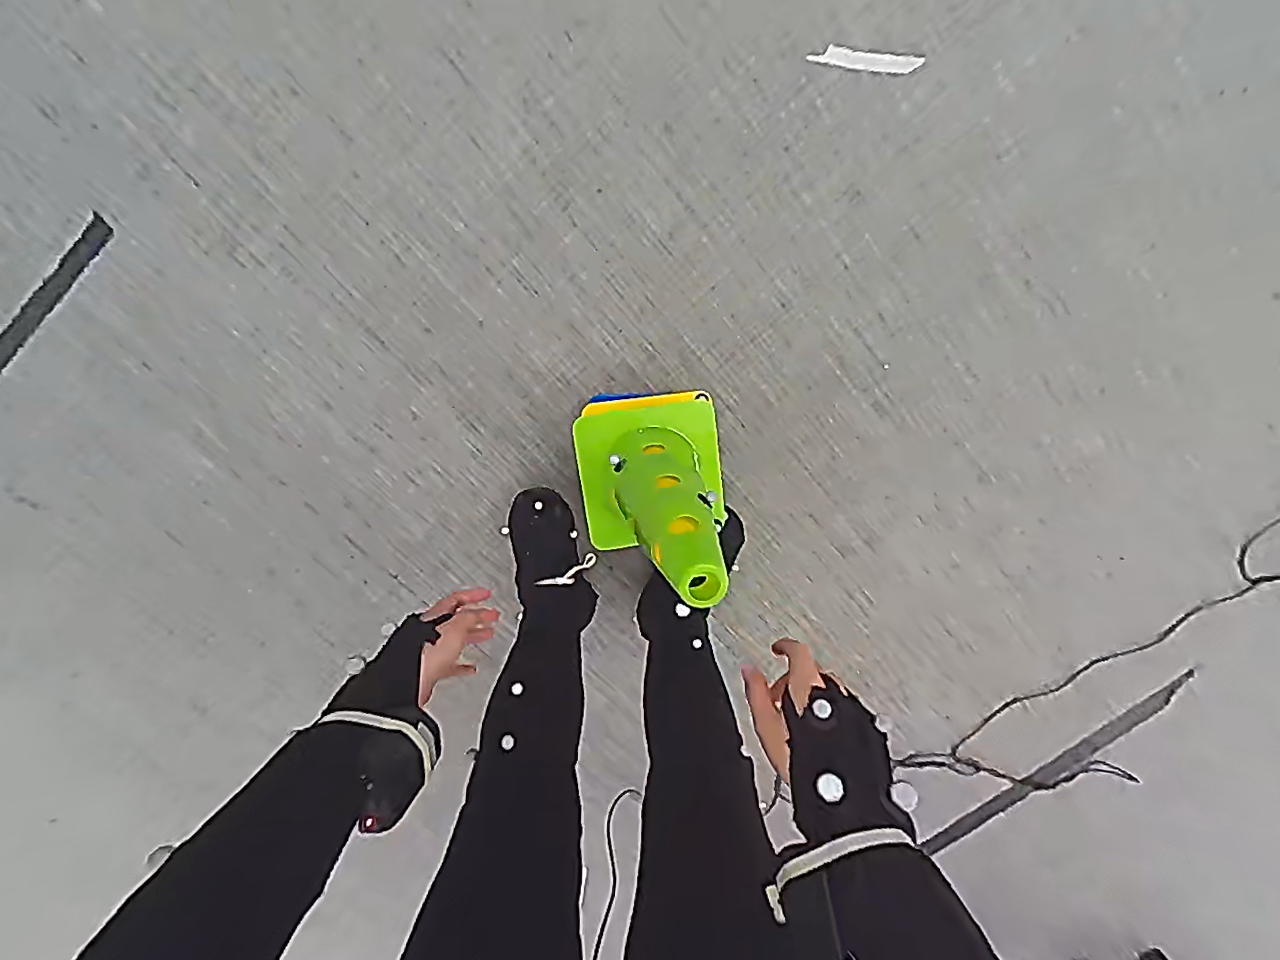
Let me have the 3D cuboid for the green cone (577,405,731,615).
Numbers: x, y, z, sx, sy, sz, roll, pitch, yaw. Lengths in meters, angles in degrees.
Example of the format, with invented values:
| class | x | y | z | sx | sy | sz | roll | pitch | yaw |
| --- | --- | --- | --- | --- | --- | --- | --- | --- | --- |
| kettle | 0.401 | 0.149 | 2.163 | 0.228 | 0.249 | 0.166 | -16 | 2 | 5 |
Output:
| class | x | y | z | sx | sy | sz | roll | pitch | yaw |
| --- | --- | --- | --- | --- | --- | --- | --- | --- | --- |
| green cone | 0.036 | 0.042 | 0.598 | 0.202 | 0.368 | 0.200 | -10 | 104 | -2 |
